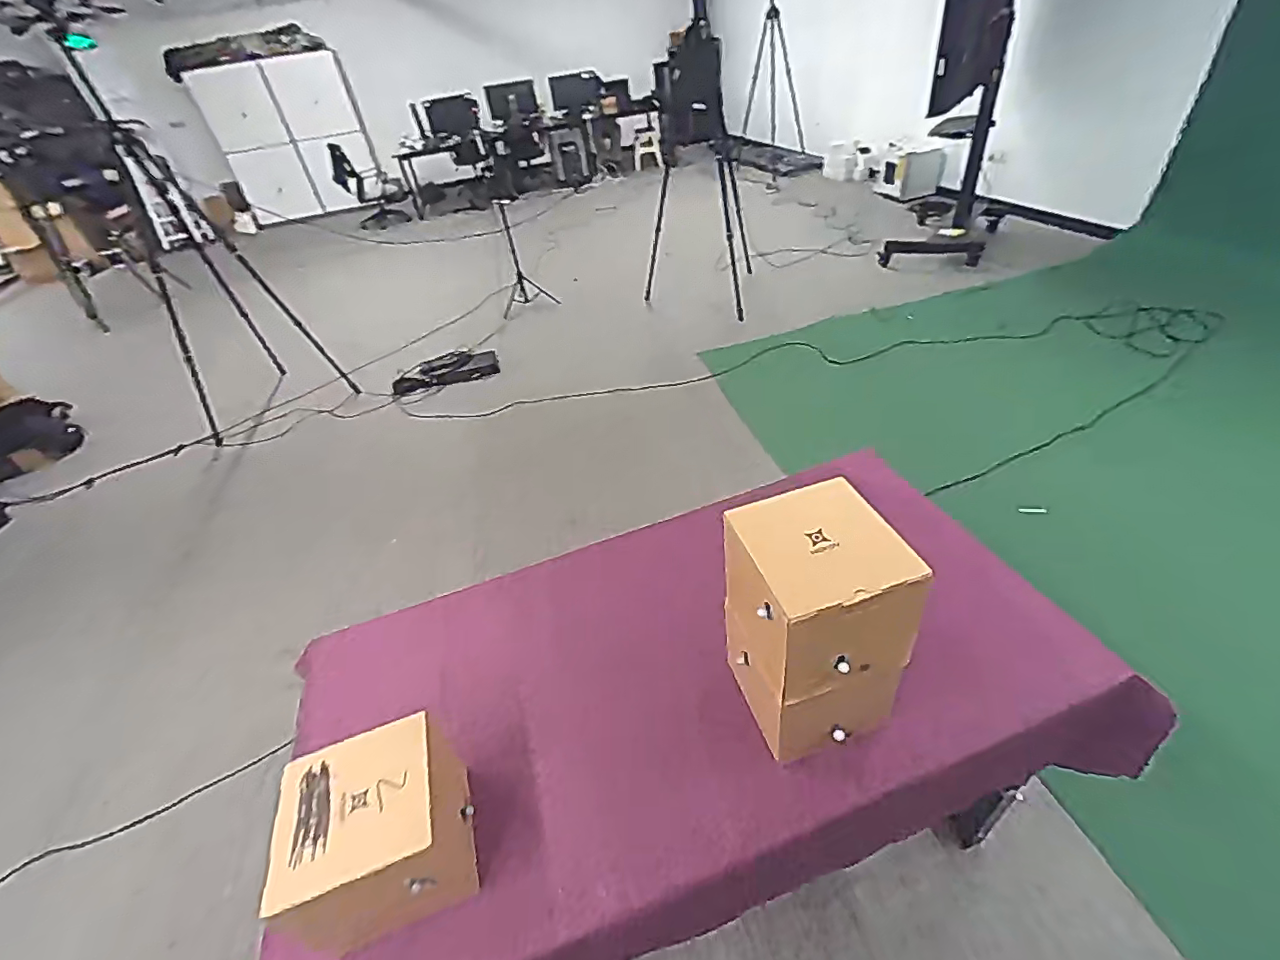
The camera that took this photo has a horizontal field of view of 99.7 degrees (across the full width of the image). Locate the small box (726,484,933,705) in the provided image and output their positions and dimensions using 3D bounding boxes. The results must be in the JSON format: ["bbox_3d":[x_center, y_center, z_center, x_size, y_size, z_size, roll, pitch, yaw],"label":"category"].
[{"bbox_3d":[0.212,0.137,0.659,0.168,0.176,0.179,-16,40,-8],"label":"small box"}]

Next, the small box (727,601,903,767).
[{"bbox_3d":[0.231,0.263,0.761,0.168,0.176,0.179,-17,40,-7],"label":"small box"}]
